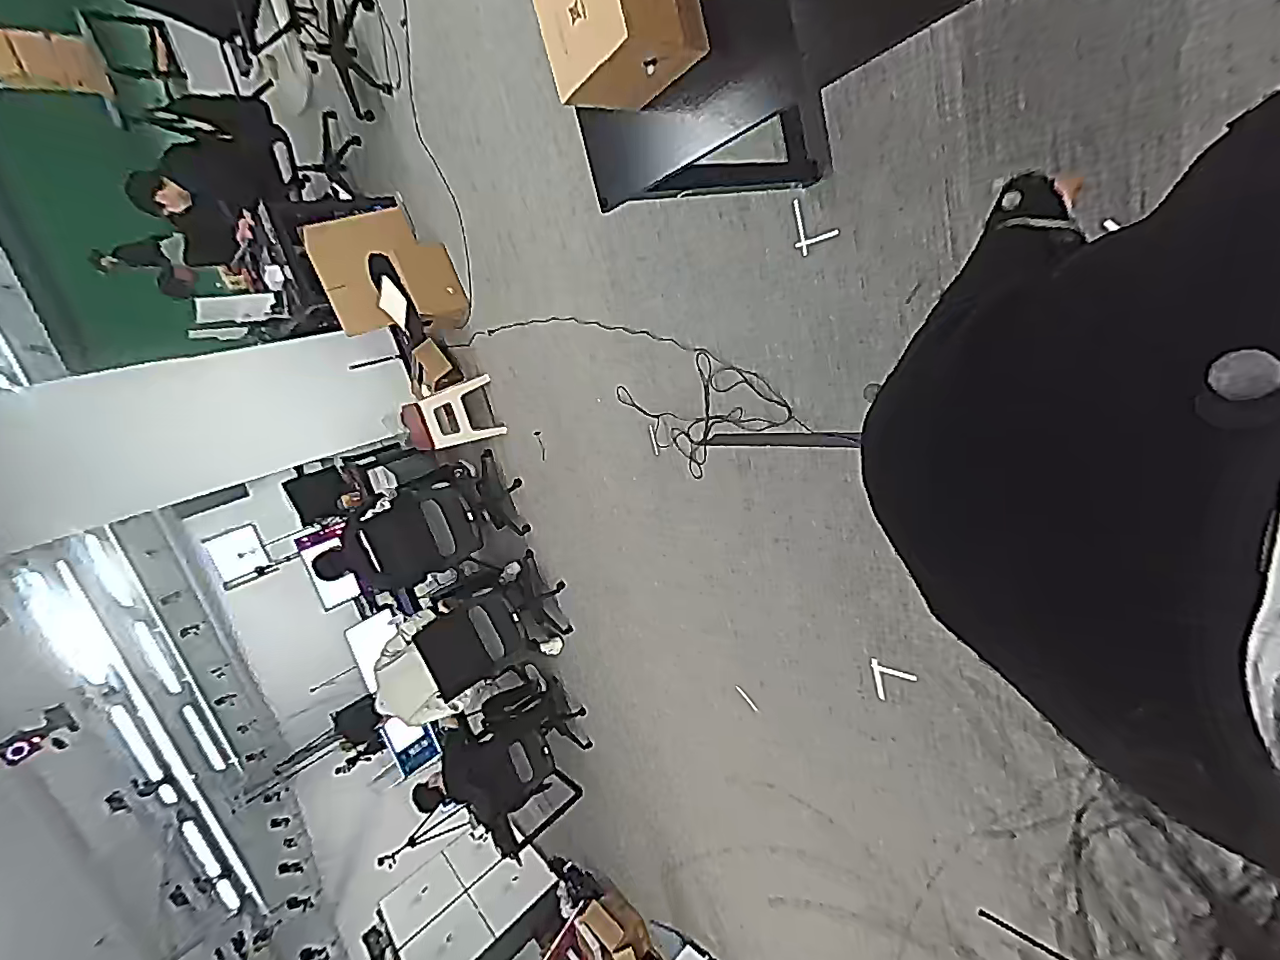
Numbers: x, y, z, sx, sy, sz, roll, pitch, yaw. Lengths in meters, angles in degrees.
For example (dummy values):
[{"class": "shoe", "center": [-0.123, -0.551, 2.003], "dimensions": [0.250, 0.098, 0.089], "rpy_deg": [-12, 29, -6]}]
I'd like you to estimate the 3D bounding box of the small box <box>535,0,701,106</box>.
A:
[{"class": "small box", "center": [-0.027, -0.694, 0.810], "dimensions": [0.179, 0.176, 0.168], "rpy_deg": [0, 110, 52]}]
